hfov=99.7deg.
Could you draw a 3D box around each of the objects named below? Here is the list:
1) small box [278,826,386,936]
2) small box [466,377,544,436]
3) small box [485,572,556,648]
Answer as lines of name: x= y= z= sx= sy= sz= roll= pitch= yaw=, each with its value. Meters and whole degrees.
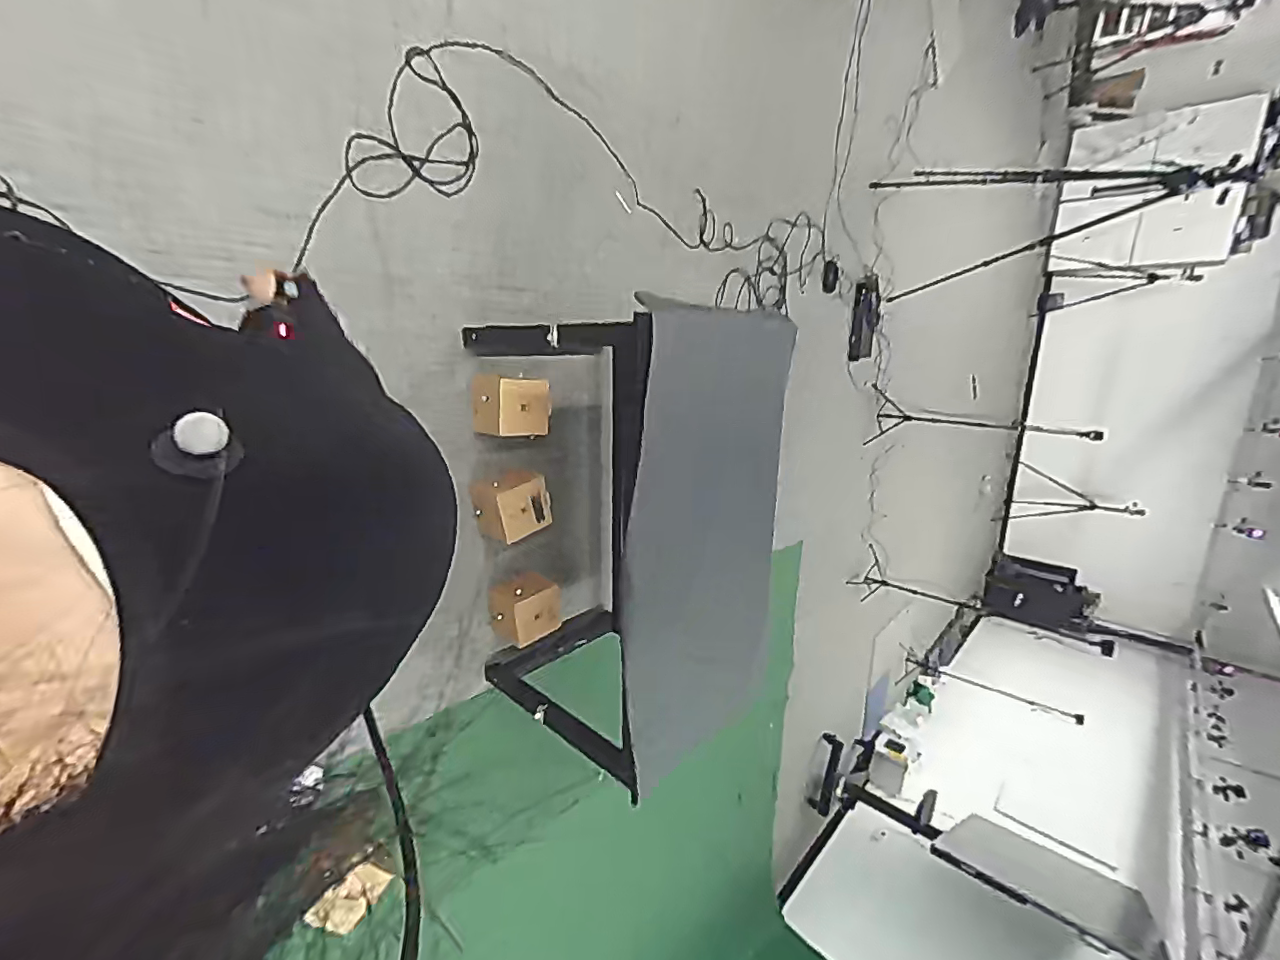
small box: x=-0.858 y=1.109 z=1.506 sx=0.168 sy=0.176 sz=0.179 roll=-48 pitch=132 yaw=-29
small box: x=-0.415 y=-0.225 z=1.650 sx=0.179 sy=0.176 sz=0.168 roll=-8 pitch=106 yaw=-47
small box: x=-0.408 y=0.432 z=1.823 sx=0.179 sy=0.176 sz=0.168 roll=-20 pitch=115 yaw=-44
